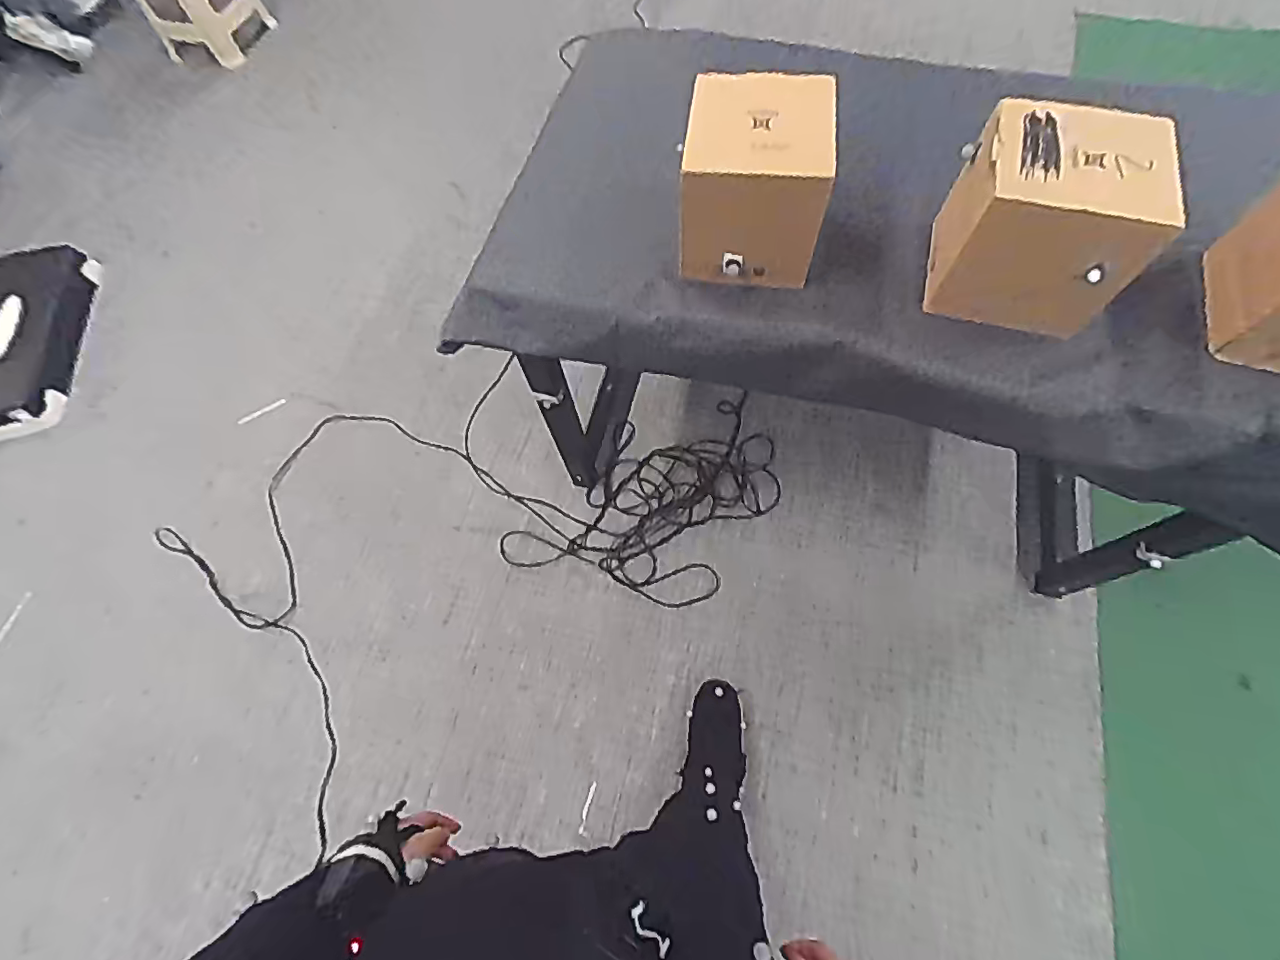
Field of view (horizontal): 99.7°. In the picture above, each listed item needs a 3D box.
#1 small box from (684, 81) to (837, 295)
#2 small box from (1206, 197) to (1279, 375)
[{"bbox_3d":[0.145,-0.365,0.687,0.168,0.176,0.179,5,67,7],"label":"small box"},{"bbox_3d":[0.773,-0.227,0.582,0.168,0.176,0.179,16,68,11],"label":"small box"}]
